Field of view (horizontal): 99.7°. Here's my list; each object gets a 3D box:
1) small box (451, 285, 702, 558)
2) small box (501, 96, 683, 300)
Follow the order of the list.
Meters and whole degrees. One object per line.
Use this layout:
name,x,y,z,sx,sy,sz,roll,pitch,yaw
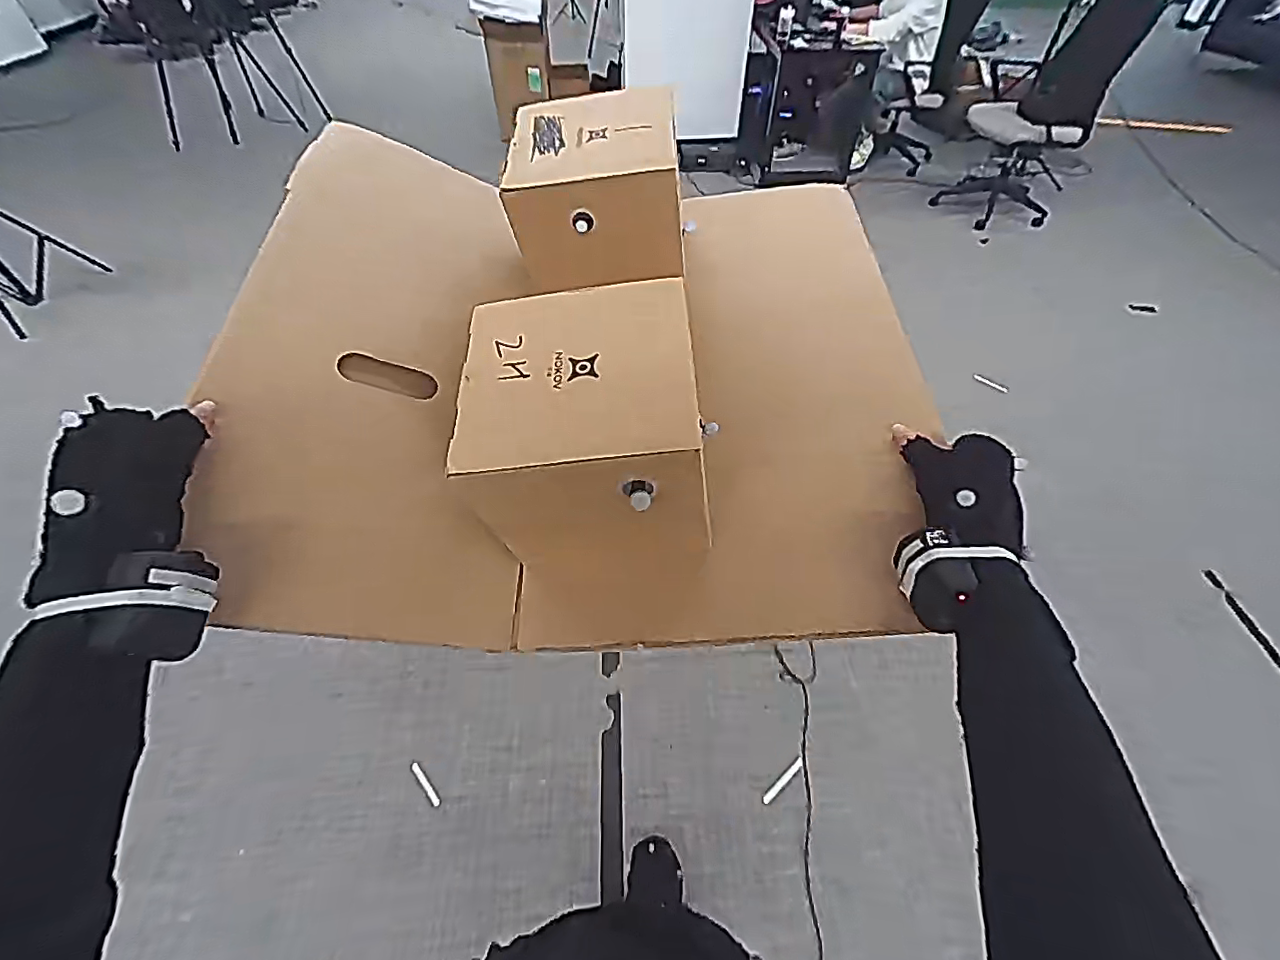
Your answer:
small box,-0.037,-0.041,0.478,0.179,0.176,0.168,-6,59,7
small box,-0.043,-0.313,0.641,0.179,0.176,0.168,-4,59,6
